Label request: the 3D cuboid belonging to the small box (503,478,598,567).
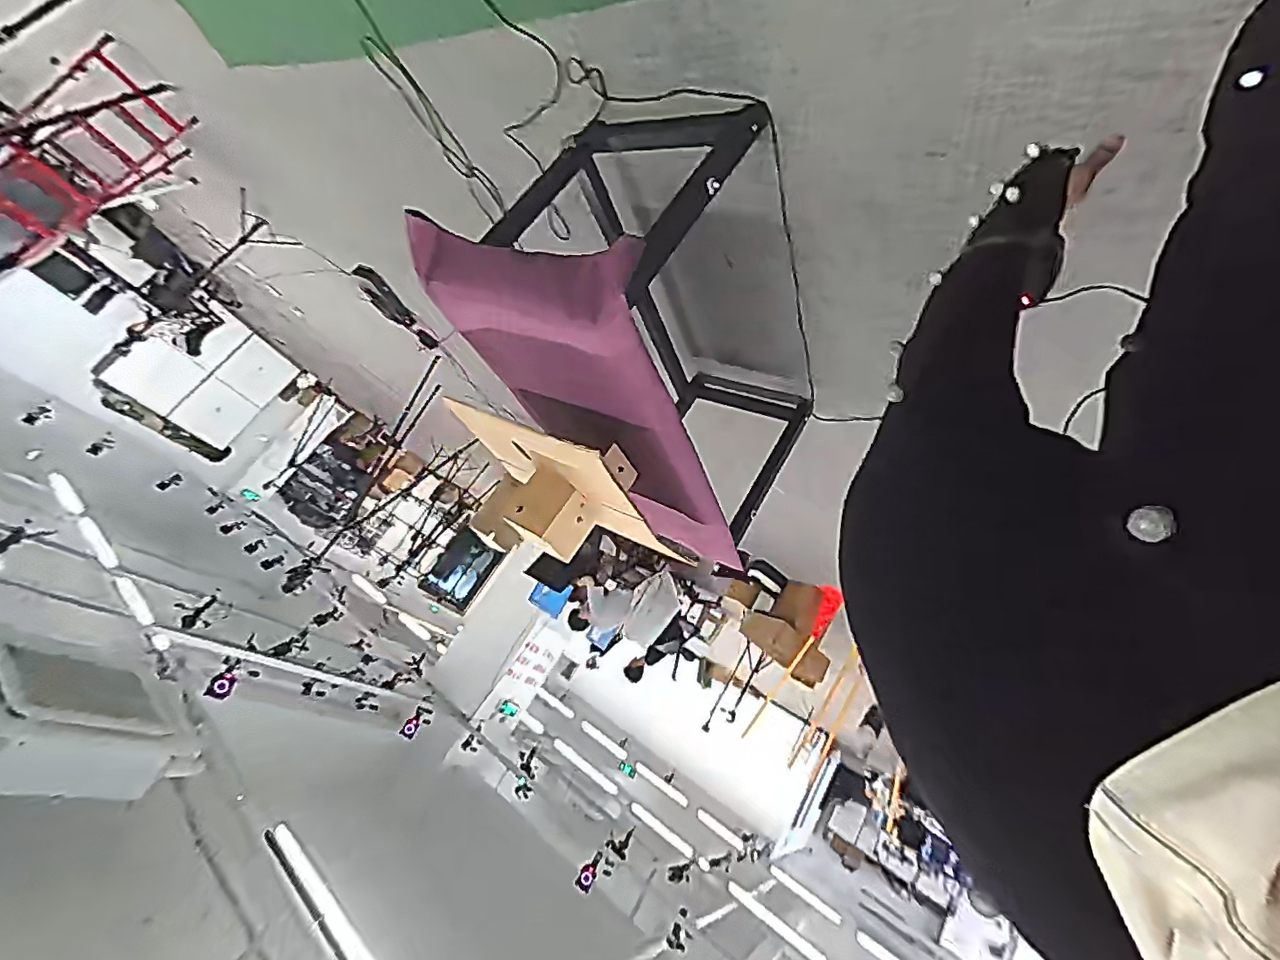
[{"bbox_3d":[-0.252,0.117,1.560,0.179,0.176,0.168,21,157,33],"label":"small box"}]
